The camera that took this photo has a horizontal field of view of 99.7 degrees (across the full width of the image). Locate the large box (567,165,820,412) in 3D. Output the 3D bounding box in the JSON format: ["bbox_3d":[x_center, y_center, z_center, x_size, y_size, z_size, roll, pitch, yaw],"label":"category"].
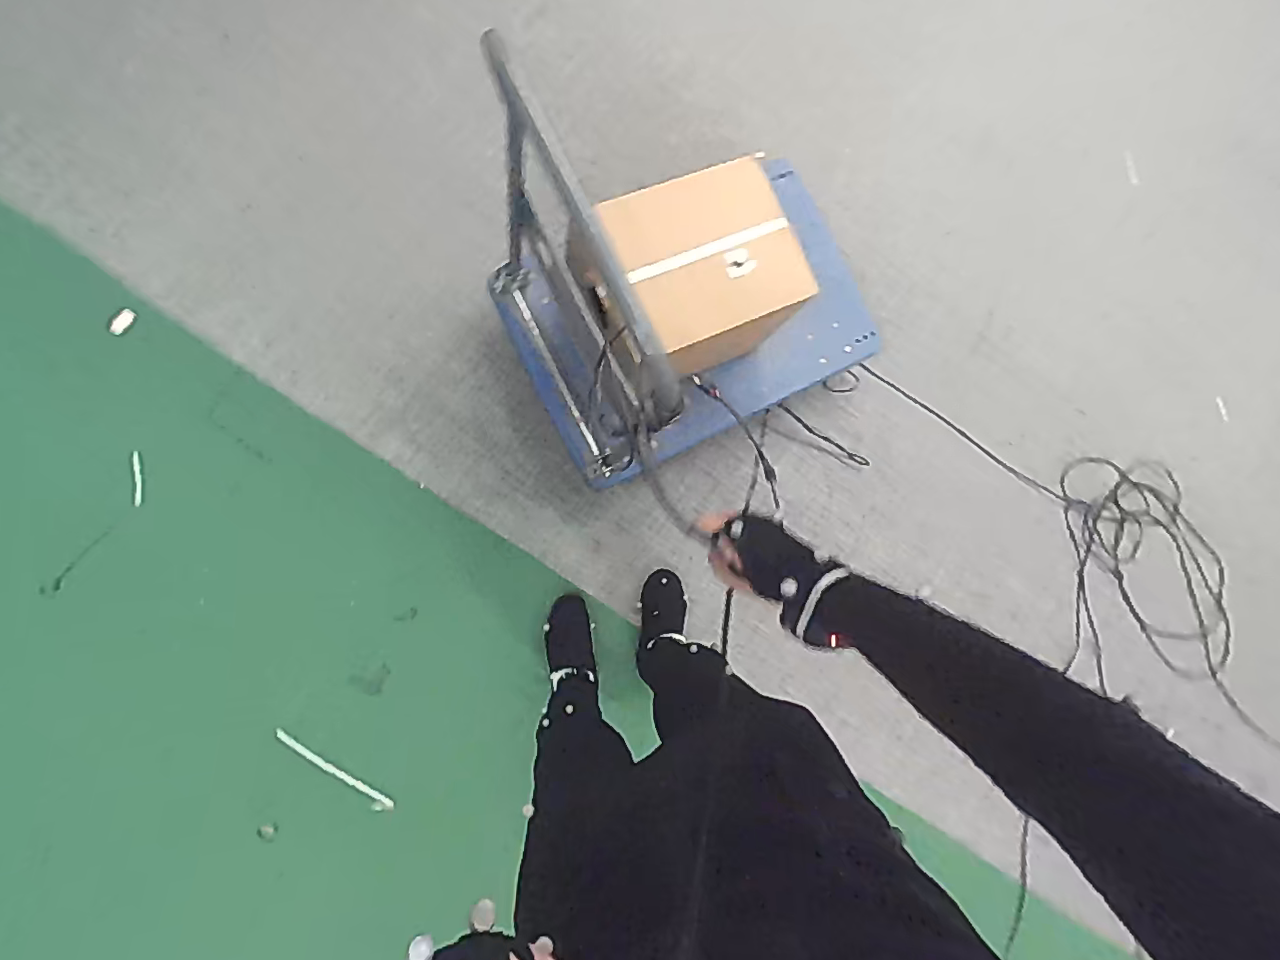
[{"bbox_3d":[0.091,-0.392,1.173,0.408,0.320,0.320,-24,88,-13],"label":"large box"}]
